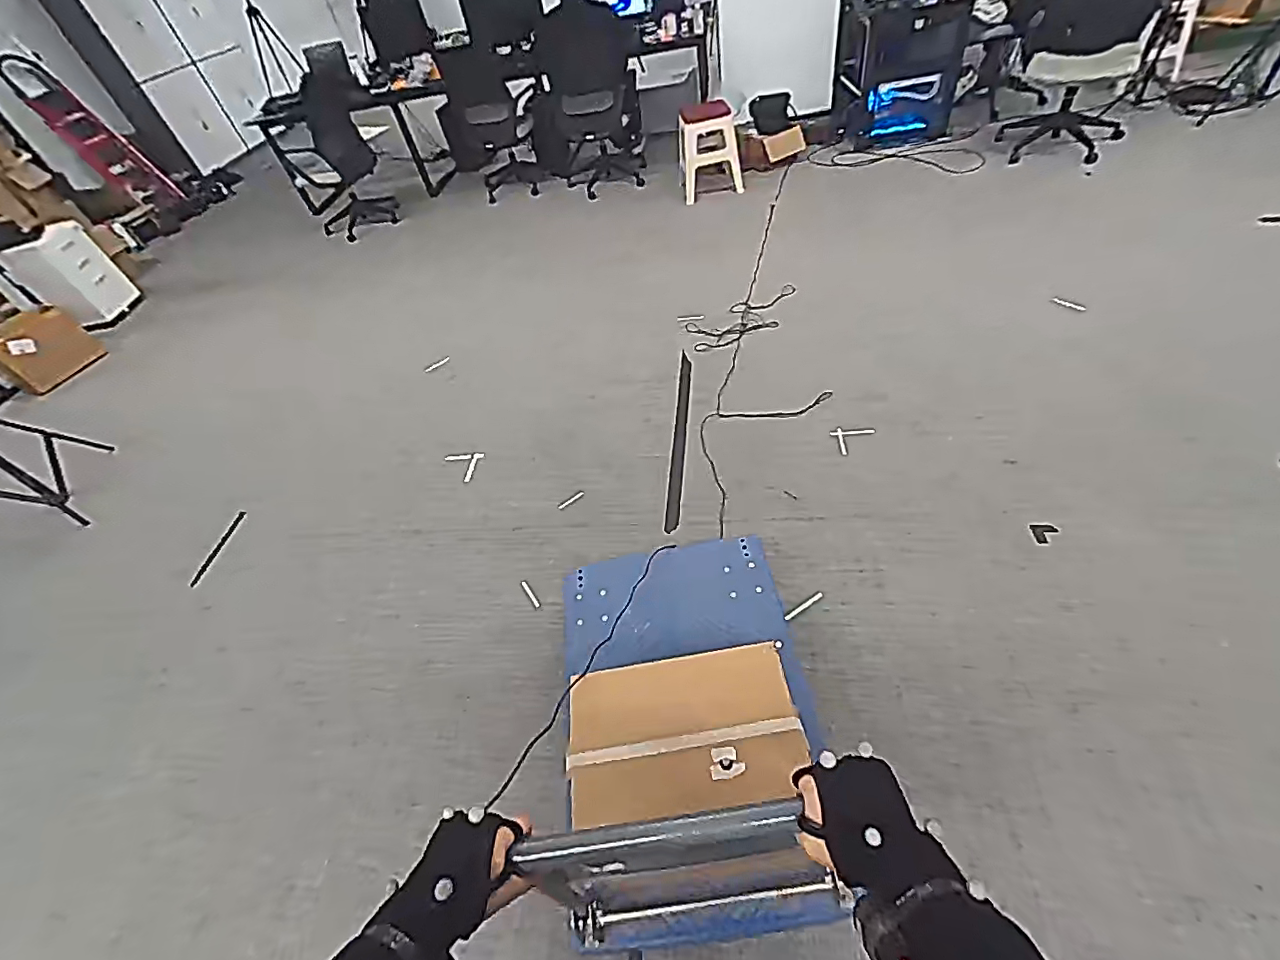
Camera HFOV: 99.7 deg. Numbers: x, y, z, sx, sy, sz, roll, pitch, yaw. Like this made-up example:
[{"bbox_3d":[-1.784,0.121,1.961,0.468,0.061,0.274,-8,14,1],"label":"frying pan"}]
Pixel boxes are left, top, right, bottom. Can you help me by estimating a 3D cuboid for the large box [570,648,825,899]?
[{"bbox_3d":[0.097,0.567,1.040,0.408,0.320,0.320,-10,46,3],"label":"large box"}]
